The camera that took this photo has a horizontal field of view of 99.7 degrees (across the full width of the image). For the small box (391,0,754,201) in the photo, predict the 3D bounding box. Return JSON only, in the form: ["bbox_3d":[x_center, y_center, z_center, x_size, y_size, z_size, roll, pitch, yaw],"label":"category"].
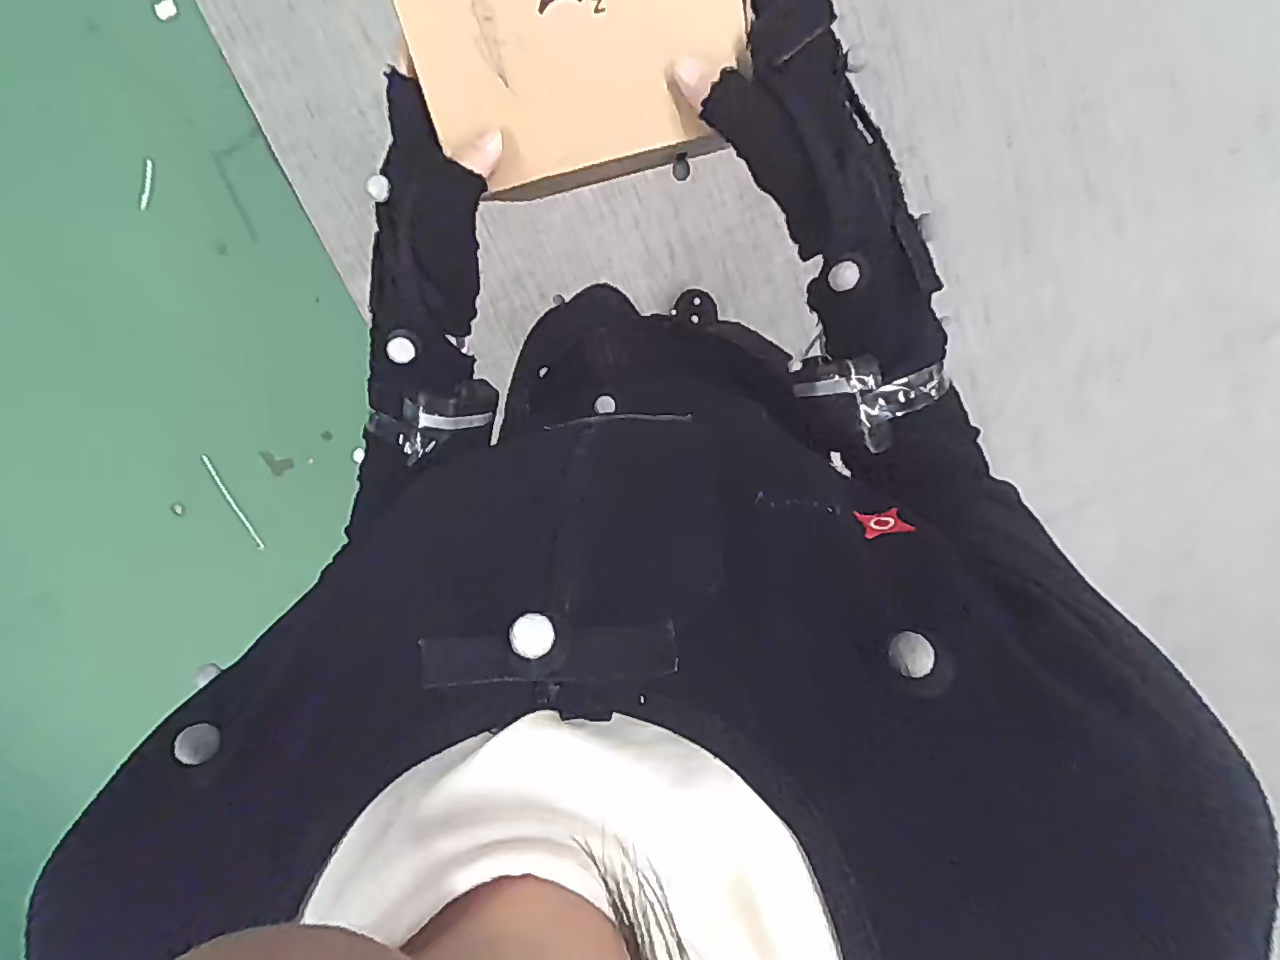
[{"bbox_3d":[-0.036,-0.288,0.340,0.179,0.176,0.168,-11,115,10],"label":"small box"}]
